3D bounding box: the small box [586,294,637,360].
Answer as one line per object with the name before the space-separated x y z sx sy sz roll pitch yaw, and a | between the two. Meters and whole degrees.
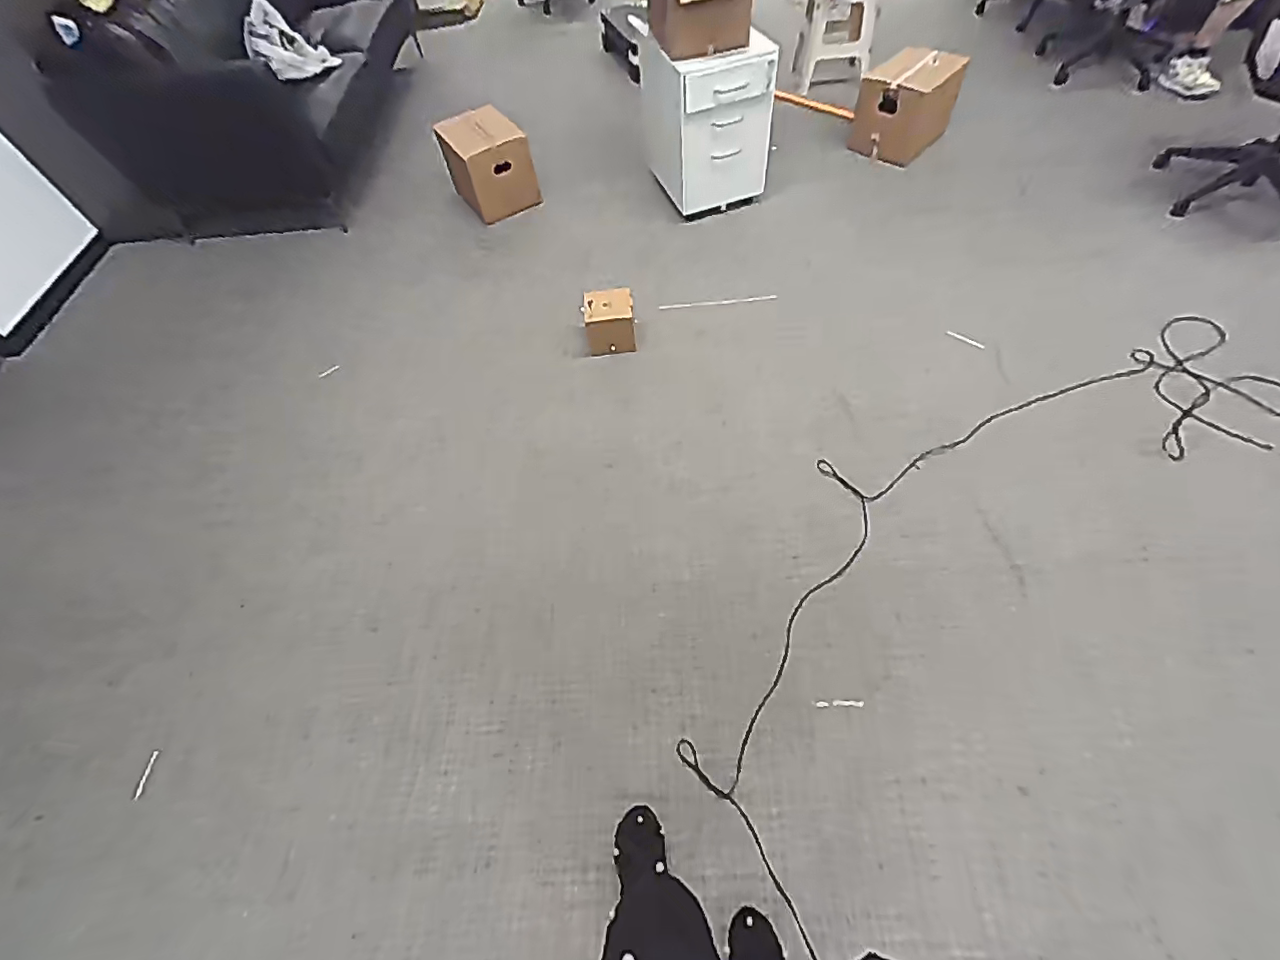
small box | -0.105 -0.576 2.047 0.179 0.176 0.168 -5 56 3
